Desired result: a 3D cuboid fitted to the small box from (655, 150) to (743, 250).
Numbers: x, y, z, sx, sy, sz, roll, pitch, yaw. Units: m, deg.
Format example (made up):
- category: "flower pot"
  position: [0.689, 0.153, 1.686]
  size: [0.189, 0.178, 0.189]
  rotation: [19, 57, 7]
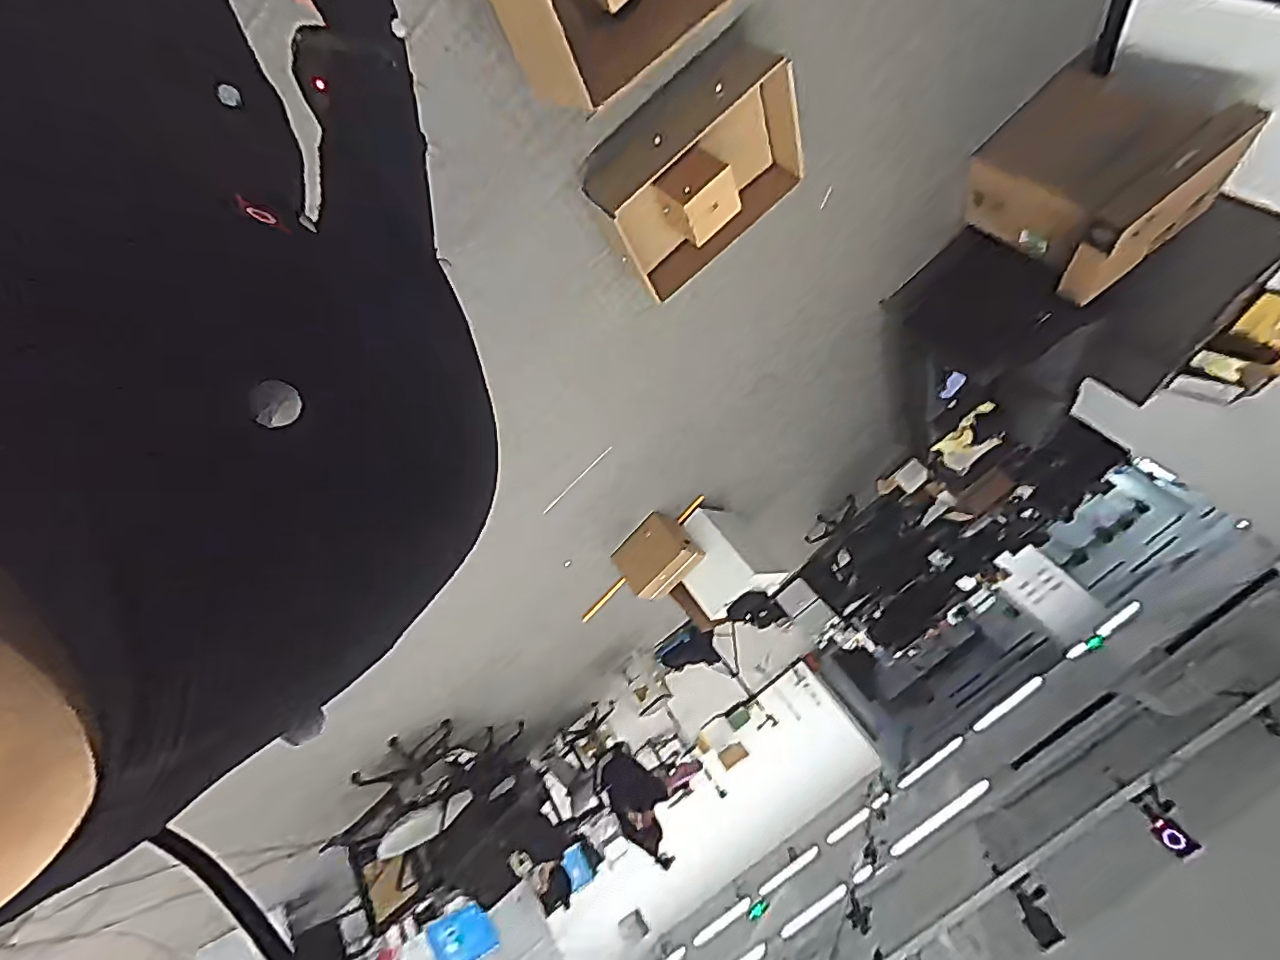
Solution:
- category: "small box"
  position: [0.176, -0.837, 1.613]
  size: [0.179, 0.176, 0.168]
  rotation: [-42, 150, 4]
